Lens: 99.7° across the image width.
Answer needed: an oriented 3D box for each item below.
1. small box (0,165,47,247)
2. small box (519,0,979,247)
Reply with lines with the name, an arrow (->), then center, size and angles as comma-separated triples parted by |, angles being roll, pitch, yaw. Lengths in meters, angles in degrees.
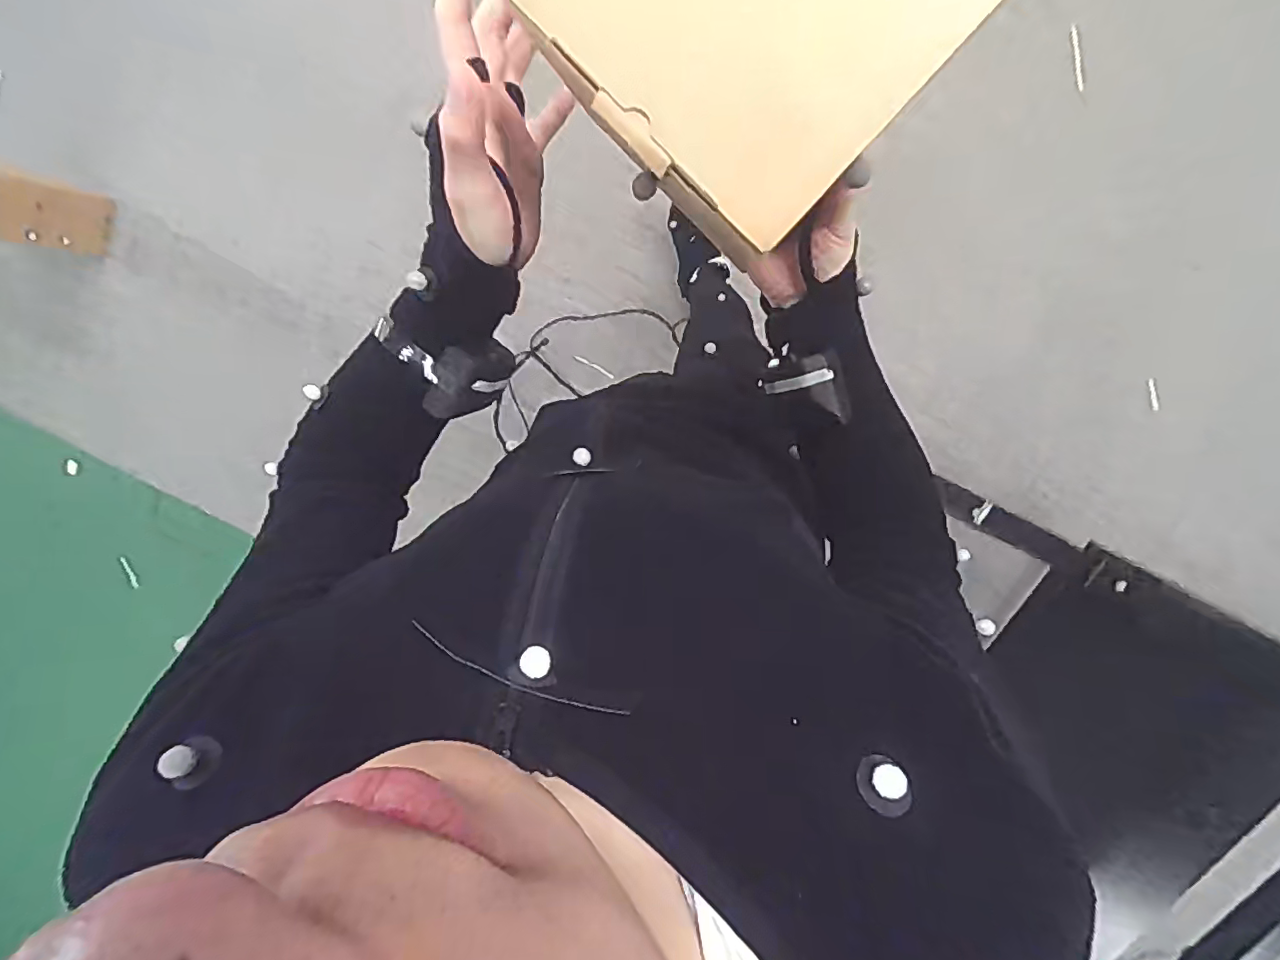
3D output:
small box -> -1.578, -0.669, 1.274 | 0.179, 0.176, 0.168 | 26, 103, -3
small box -> 0.068, -0.253, 0.295 | 0.168, 0.176, 0.179 | 42, 110, -6
